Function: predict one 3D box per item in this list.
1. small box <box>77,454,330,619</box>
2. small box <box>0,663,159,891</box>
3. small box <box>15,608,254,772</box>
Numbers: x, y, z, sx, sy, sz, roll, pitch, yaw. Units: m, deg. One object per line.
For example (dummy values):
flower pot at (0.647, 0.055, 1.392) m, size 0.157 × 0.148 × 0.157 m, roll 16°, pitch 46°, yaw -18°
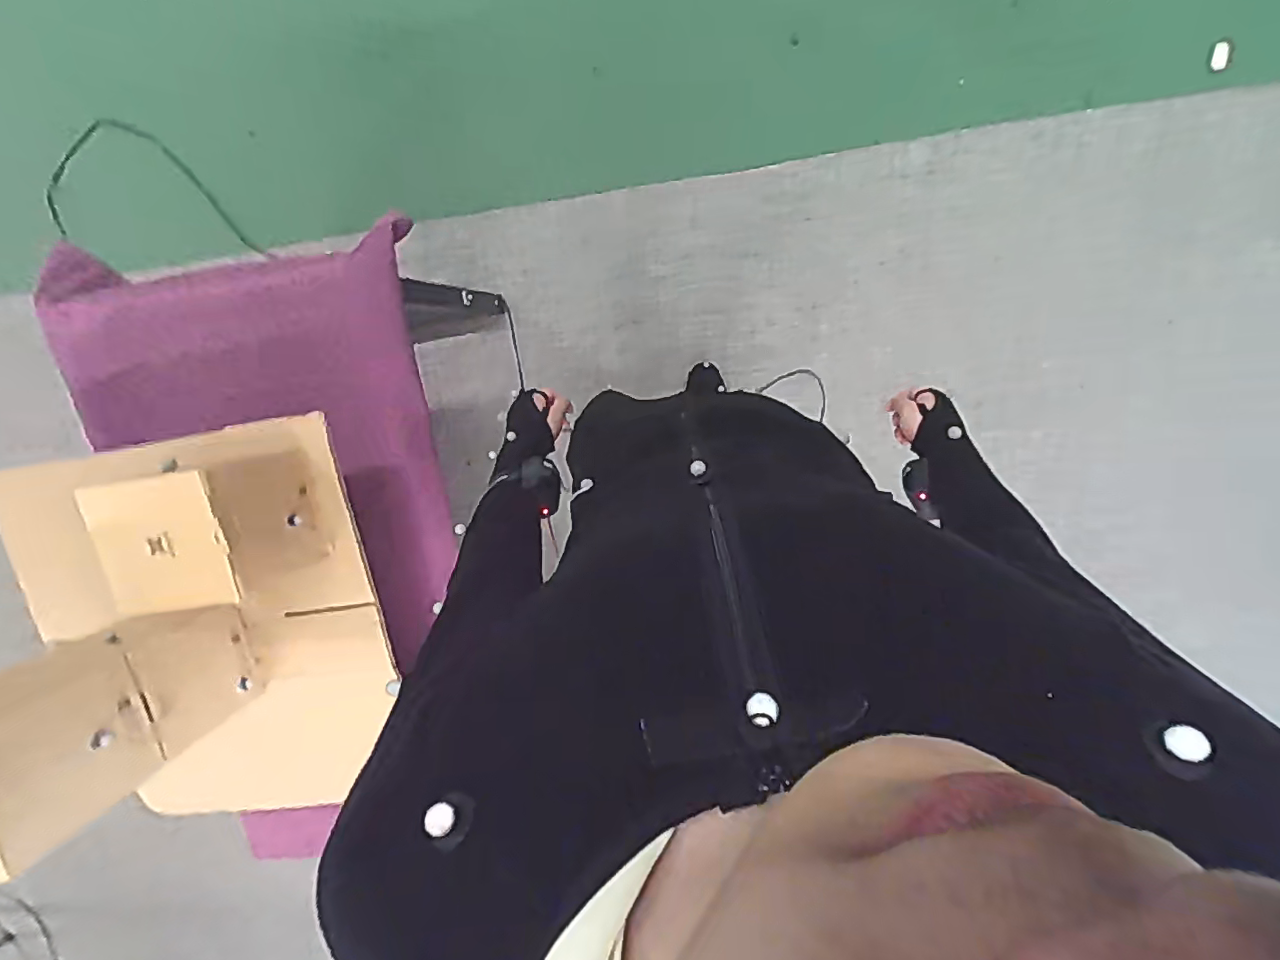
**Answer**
small box at (-0.561, 0.067, 0.719) m, size 0.179 × 0.176 × 0.168 m, roll -9°, pitch 101°, yaw 7°
small box at (-0.726, 0.332, 0.623) m, size 0.179 × 0.176 × 0.168 m, roll -9°, pitch 101°, yaw 8°
small box at (-0.705, 0.298, 0.782) m, size 0.179 × 0.176 × 0.168 m, roll -9°, pitch 100°, yaw 9°
